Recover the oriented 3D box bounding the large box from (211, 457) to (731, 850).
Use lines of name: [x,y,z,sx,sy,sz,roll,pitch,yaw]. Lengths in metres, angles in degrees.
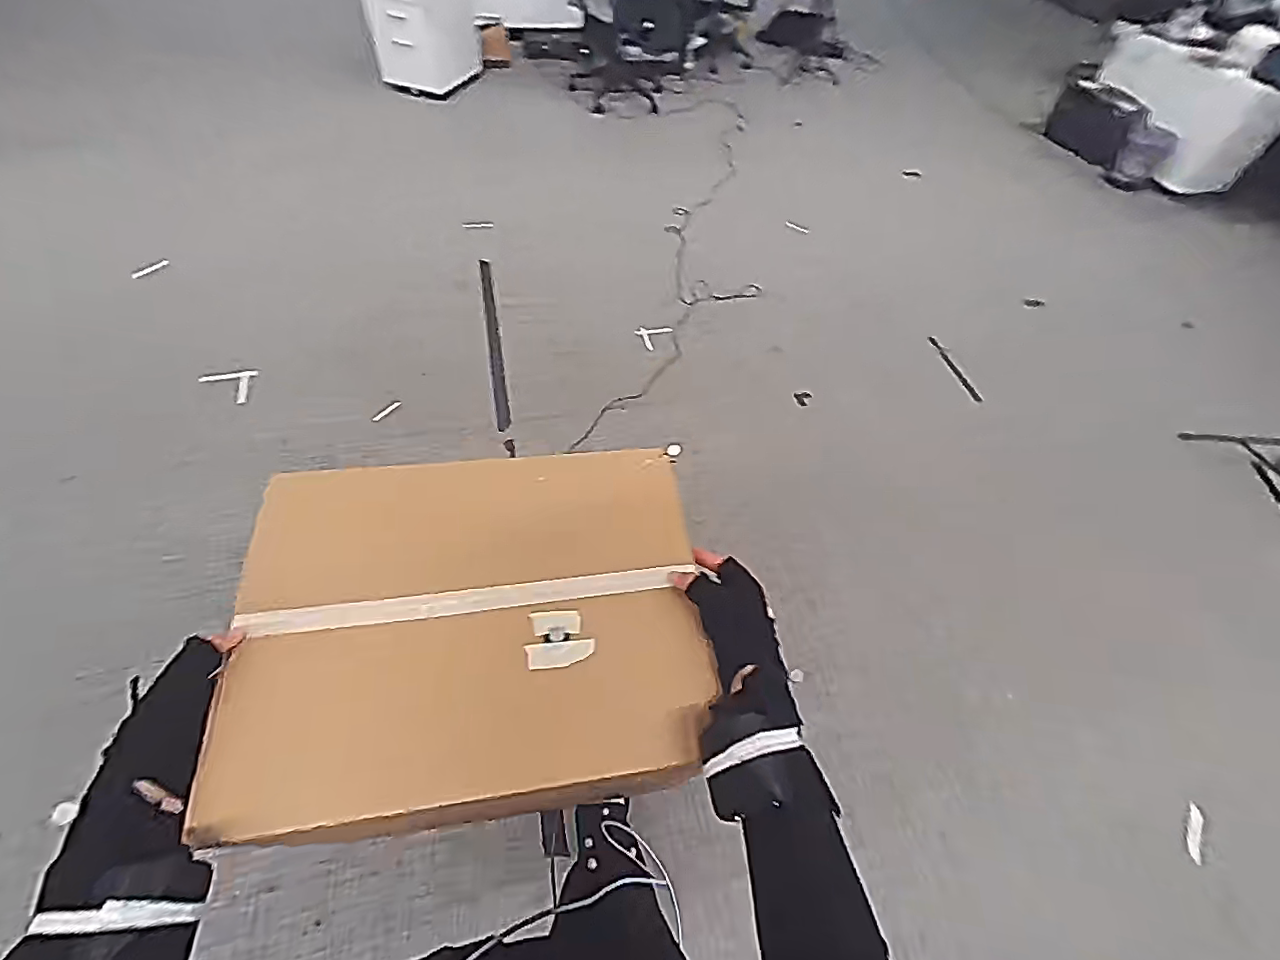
large box: [-0.158,0.200,0.622,0.408,0.320,0.320,-5,58,-11]
